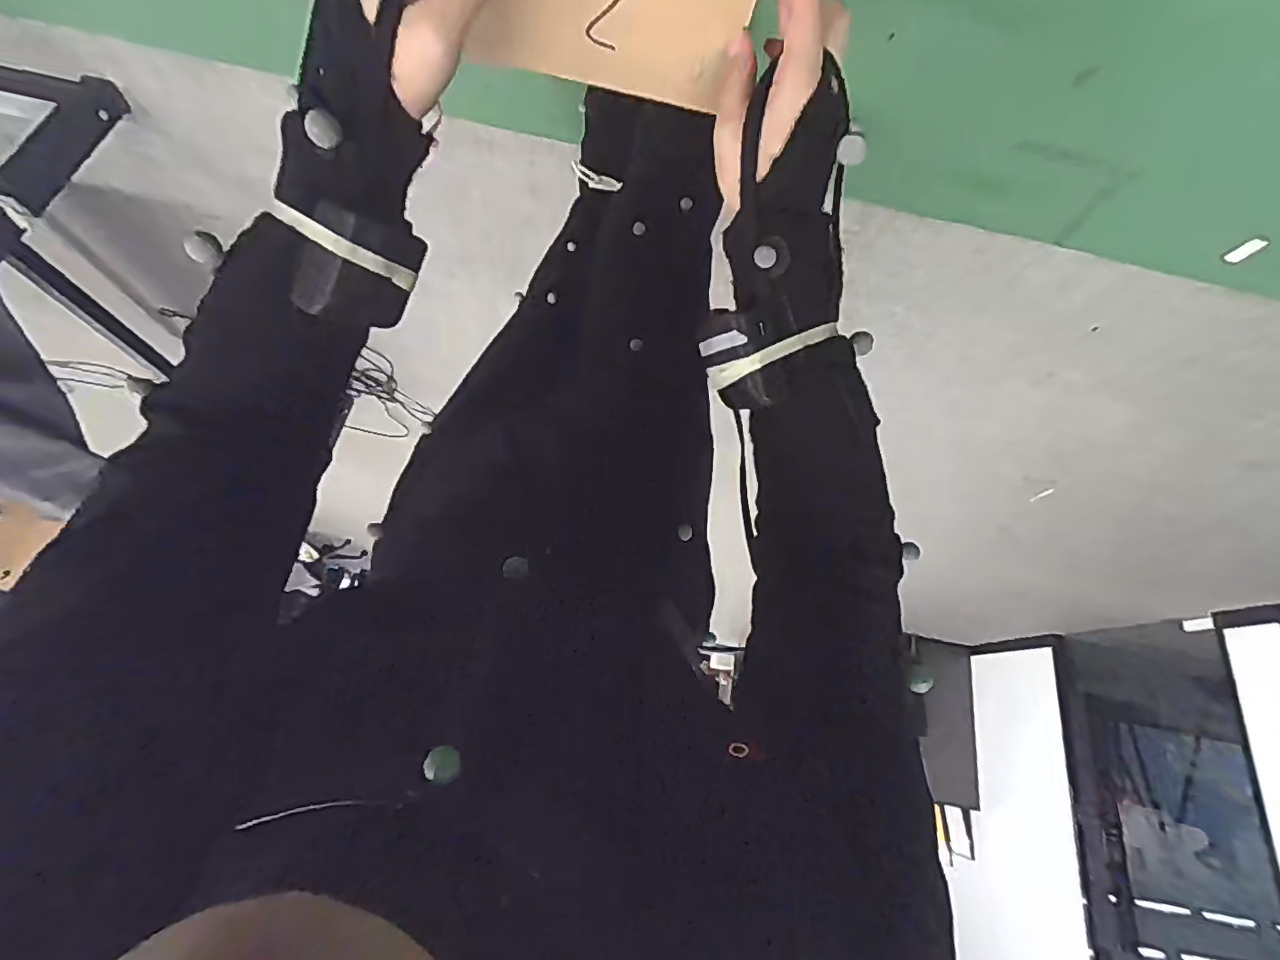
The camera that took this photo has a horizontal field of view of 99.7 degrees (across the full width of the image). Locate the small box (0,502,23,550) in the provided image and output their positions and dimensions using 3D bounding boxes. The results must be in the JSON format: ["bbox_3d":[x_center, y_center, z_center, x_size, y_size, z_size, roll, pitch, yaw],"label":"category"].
[{"bbox_3d":[-1.280,0.091,0.951,0.179,0.176,0.168,8,159,4],"label":"small box"}]
